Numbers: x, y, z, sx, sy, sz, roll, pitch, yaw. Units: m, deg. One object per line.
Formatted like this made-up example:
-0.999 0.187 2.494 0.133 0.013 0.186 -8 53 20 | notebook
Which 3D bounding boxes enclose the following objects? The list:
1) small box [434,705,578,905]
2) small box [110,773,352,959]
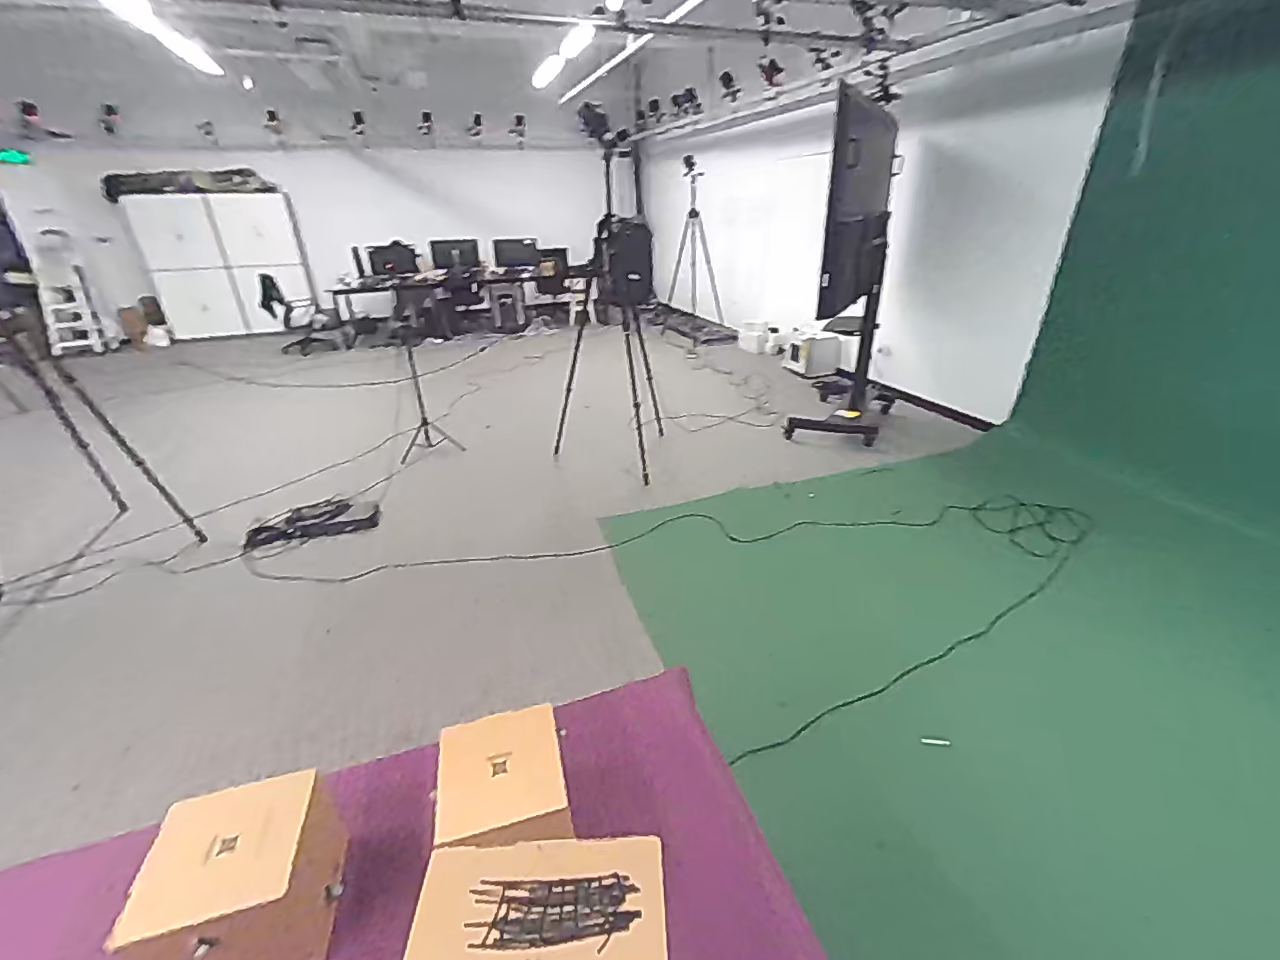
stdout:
-0.189 0.469 0.781 0.168 0.176 0.179 -9 26 -13 | small box
-0.501 0.525 0.698 0.179 0.176 0.168 -9 28 -13 | small box
